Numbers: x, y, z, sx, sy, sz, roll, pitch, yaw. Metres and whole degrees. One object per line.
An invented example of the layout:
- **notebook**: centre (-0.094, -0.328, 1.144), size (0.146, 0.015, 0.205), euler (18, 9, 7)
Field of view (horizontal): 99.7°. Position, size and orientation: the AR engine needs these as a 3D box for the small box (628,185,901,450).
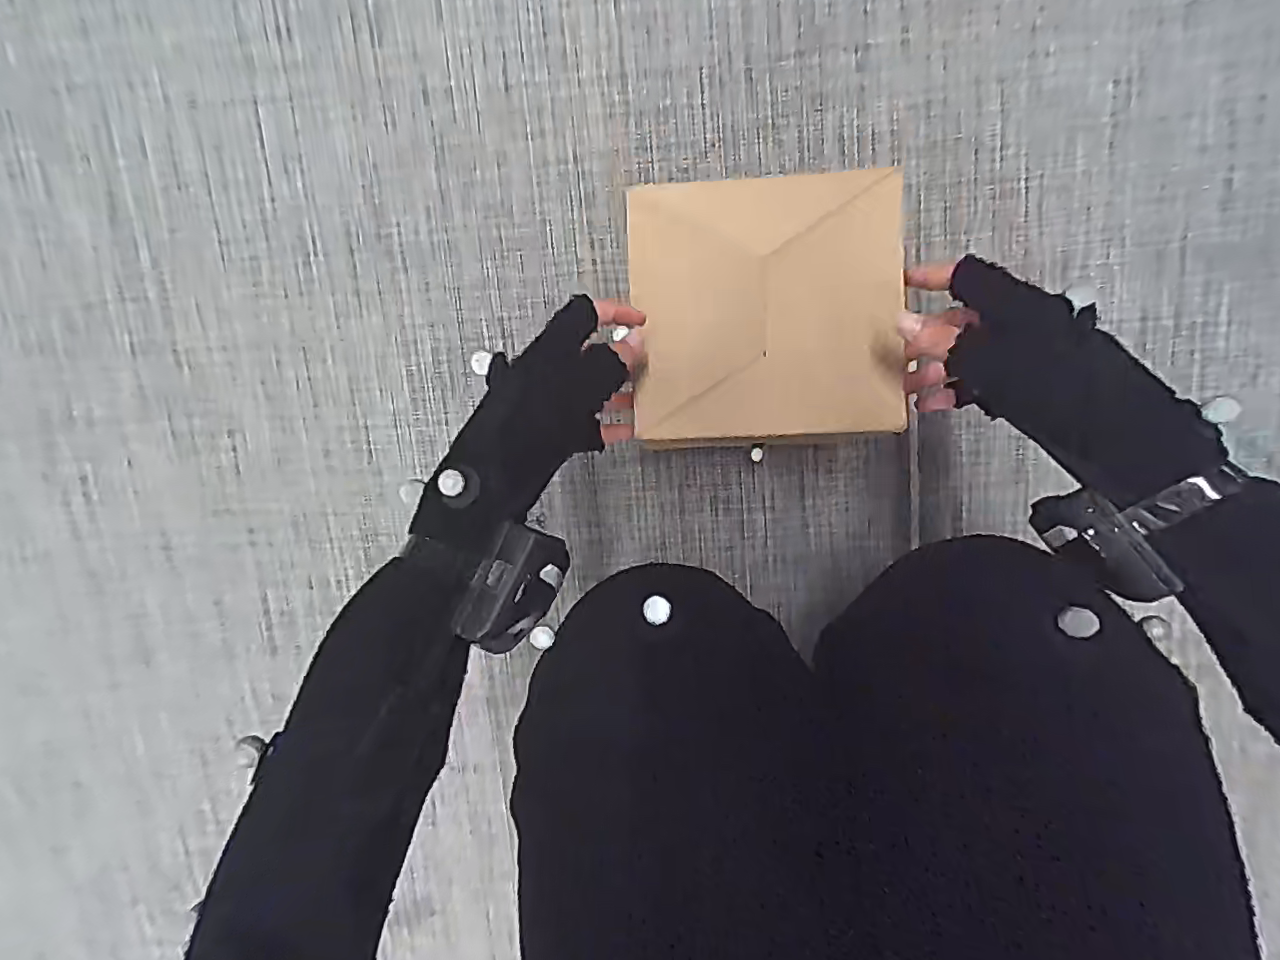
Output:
- **small box**: centre (0.089, -0.110, 0.430), size (0.179, 0.176, 0.168), euler (-2, 91, 4)
